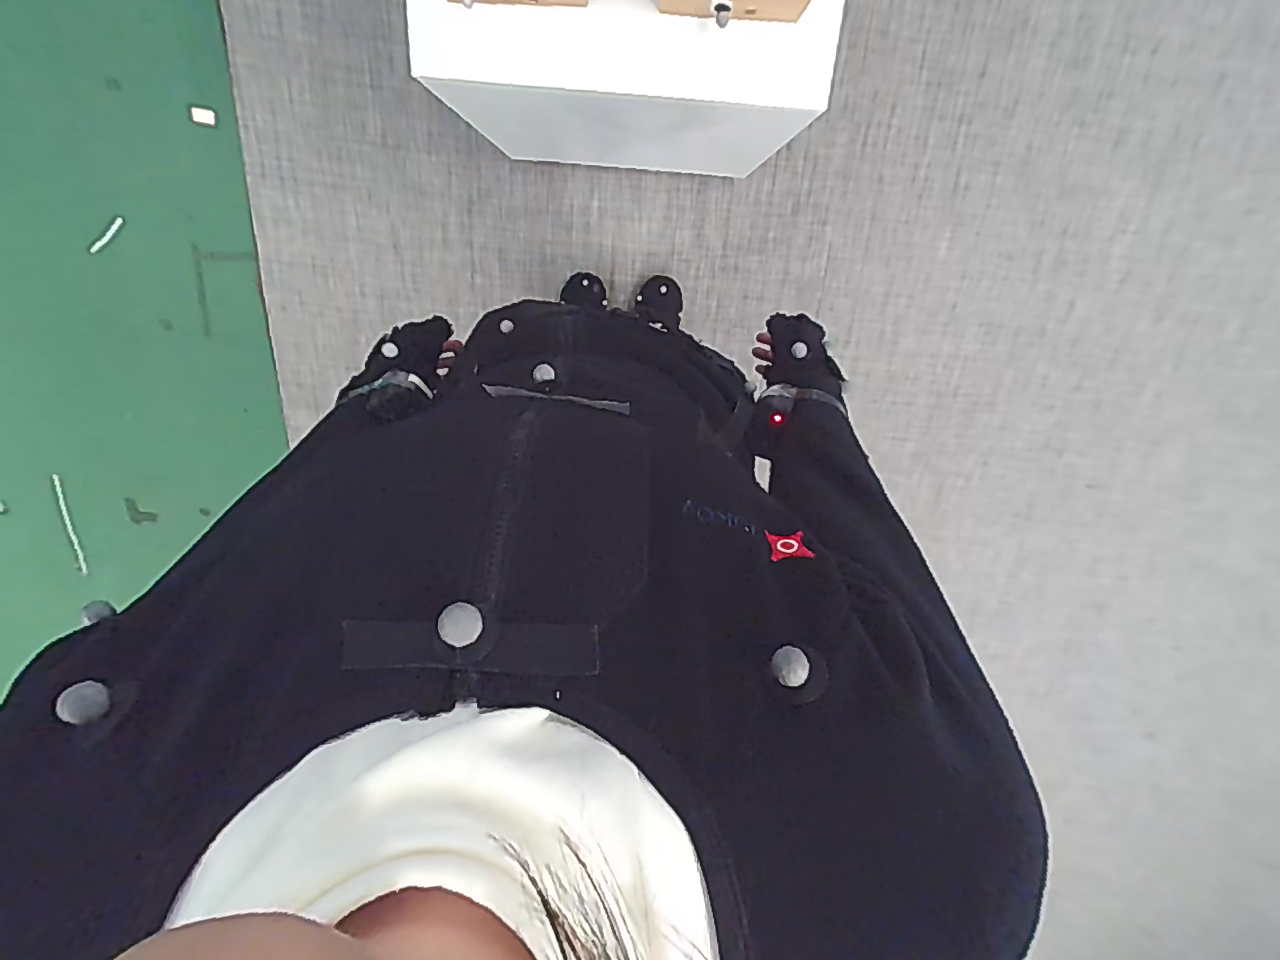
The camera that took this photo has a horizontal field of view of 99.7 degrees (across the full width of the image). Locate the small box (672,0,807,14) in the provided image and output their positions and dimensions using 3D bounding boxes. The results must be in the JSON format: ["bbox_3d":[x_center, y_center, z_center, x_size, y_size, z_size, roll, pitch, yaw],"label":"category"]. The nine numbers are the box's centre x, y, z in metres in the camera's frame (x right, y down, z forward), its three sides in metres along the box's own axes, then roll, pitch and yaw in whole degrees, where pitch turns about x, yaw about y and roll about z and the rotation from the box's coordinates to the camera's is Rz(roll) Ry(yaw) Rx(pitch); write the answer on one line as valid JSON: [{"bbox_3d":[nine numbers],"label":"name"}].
[{"bbox_3d":[0.107,-0.584,0.509,0.168,0.176,0.179,2,114,1],"label":"small box"}]
